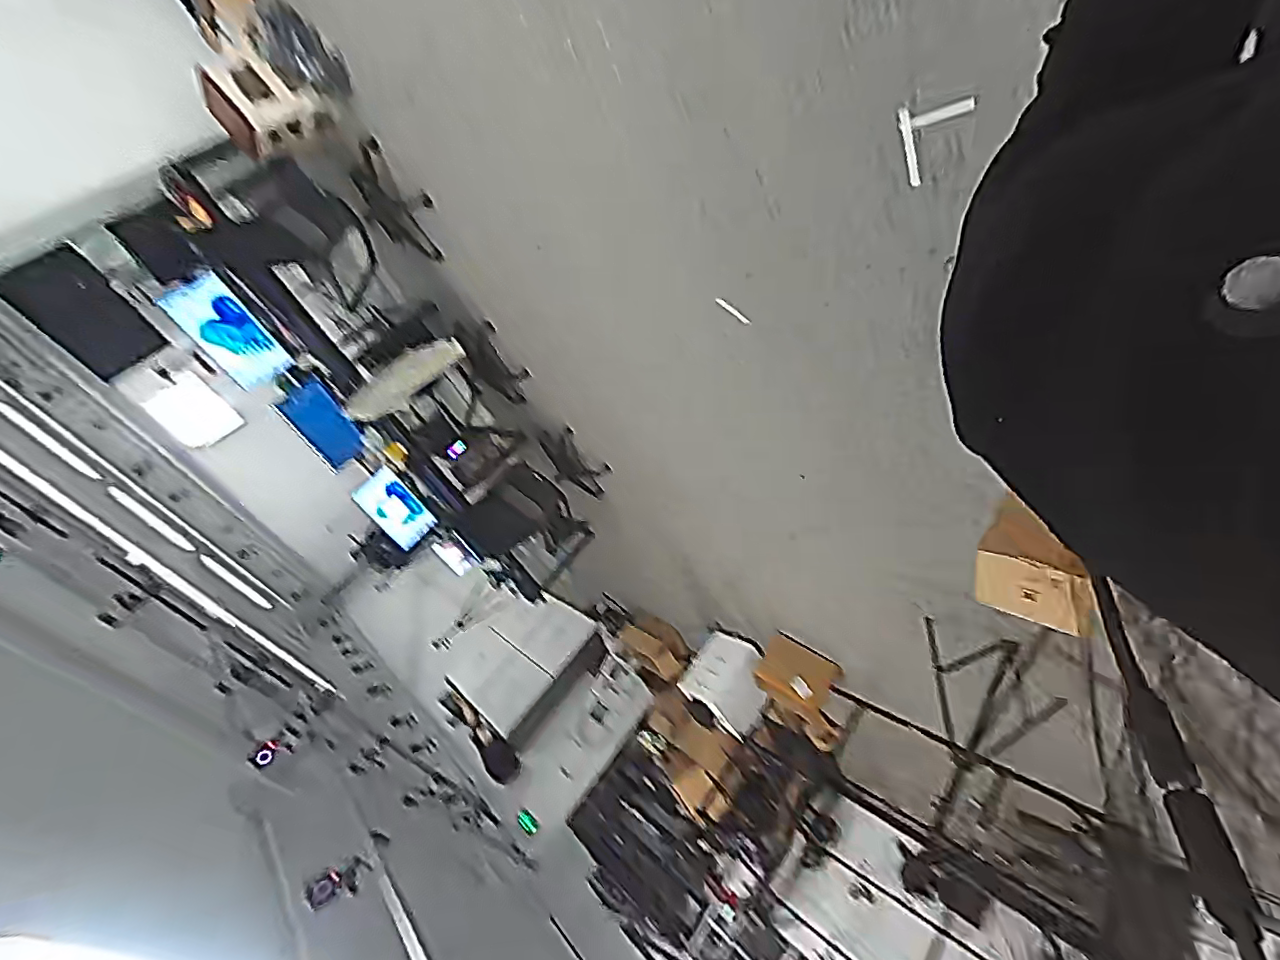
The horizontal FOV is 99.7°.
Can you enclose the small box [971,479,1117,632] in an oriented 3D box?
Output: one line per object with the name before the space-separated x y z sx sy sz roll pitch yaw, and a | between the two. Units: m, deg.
small box | 0.710 0.129 0.959 0.168 0.176 0.179 19 148 41
